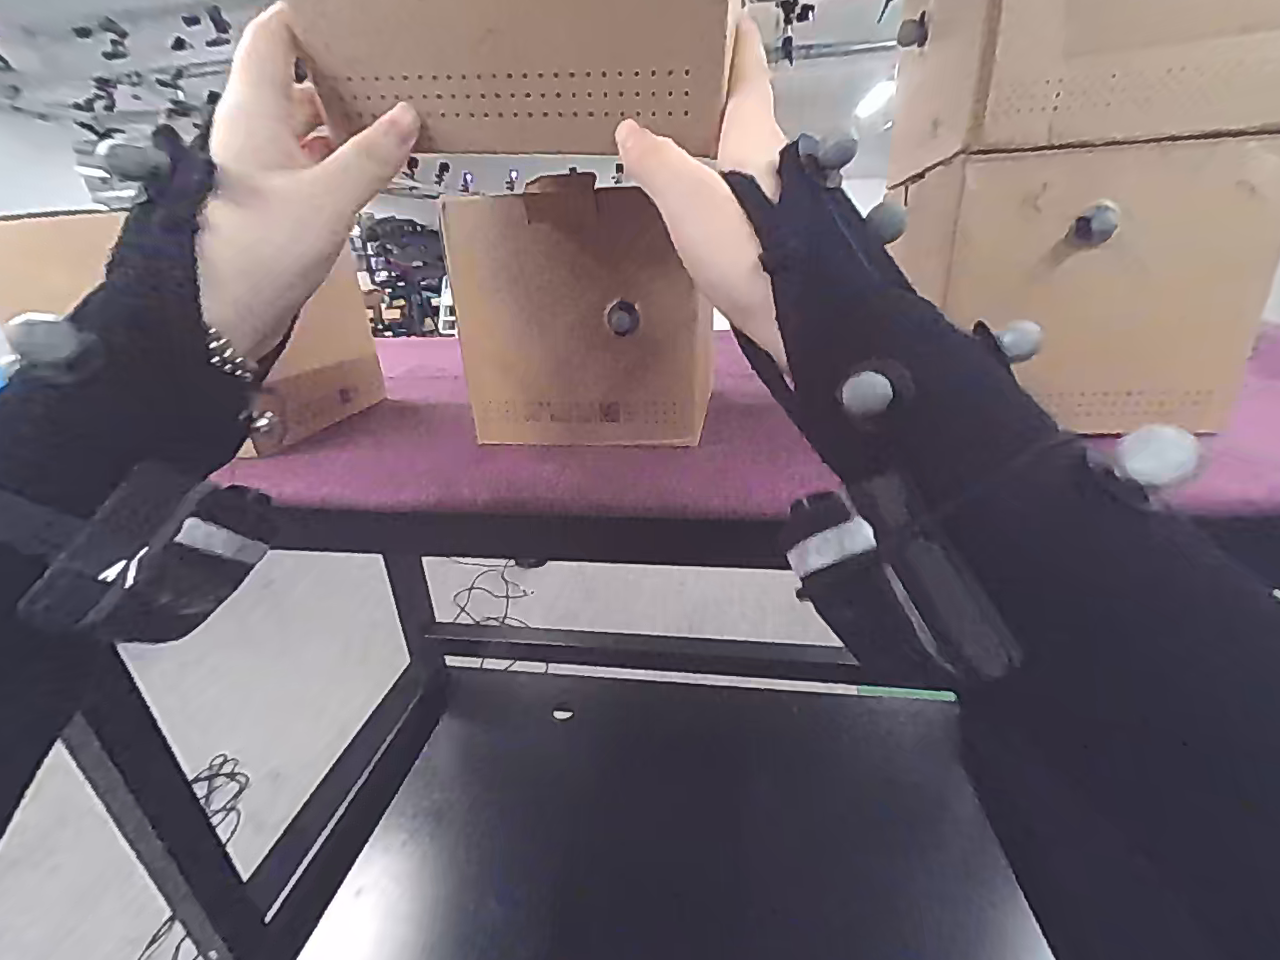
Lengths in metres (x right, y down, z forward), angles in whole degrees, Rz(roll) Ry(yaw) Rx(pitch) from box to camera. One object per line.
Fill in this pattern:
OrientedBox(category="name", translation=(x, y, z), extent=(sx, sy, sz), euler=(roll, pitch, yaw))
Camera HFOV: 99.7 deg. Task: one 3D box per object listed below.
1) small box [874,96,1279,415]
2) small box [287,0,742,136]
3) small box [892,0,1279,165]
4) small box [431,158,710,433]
OrientedBox(category="small box", translation=(0.278, -0.144, 0.387), extent=(0.179, 0.176, 0.168), euler=(0, 21, 8))
OrientedBox(category="small box", translation=(-0.044, -0.256, 0.226), extent=(0.179, 0.176, 0.168), euler=(6, 44, 7))
OrientedBox(category="small box", translation=(0.269, -0.297, 0.333), extent=(0.179, 0.176, 0.168), euler=(1, 21, 8))
OrientedBox(category="small box", translation=(-0.032, -0.140, 0.425), extent=(0.168, 0.176, 0.179), euler=(2, 24, 9))
